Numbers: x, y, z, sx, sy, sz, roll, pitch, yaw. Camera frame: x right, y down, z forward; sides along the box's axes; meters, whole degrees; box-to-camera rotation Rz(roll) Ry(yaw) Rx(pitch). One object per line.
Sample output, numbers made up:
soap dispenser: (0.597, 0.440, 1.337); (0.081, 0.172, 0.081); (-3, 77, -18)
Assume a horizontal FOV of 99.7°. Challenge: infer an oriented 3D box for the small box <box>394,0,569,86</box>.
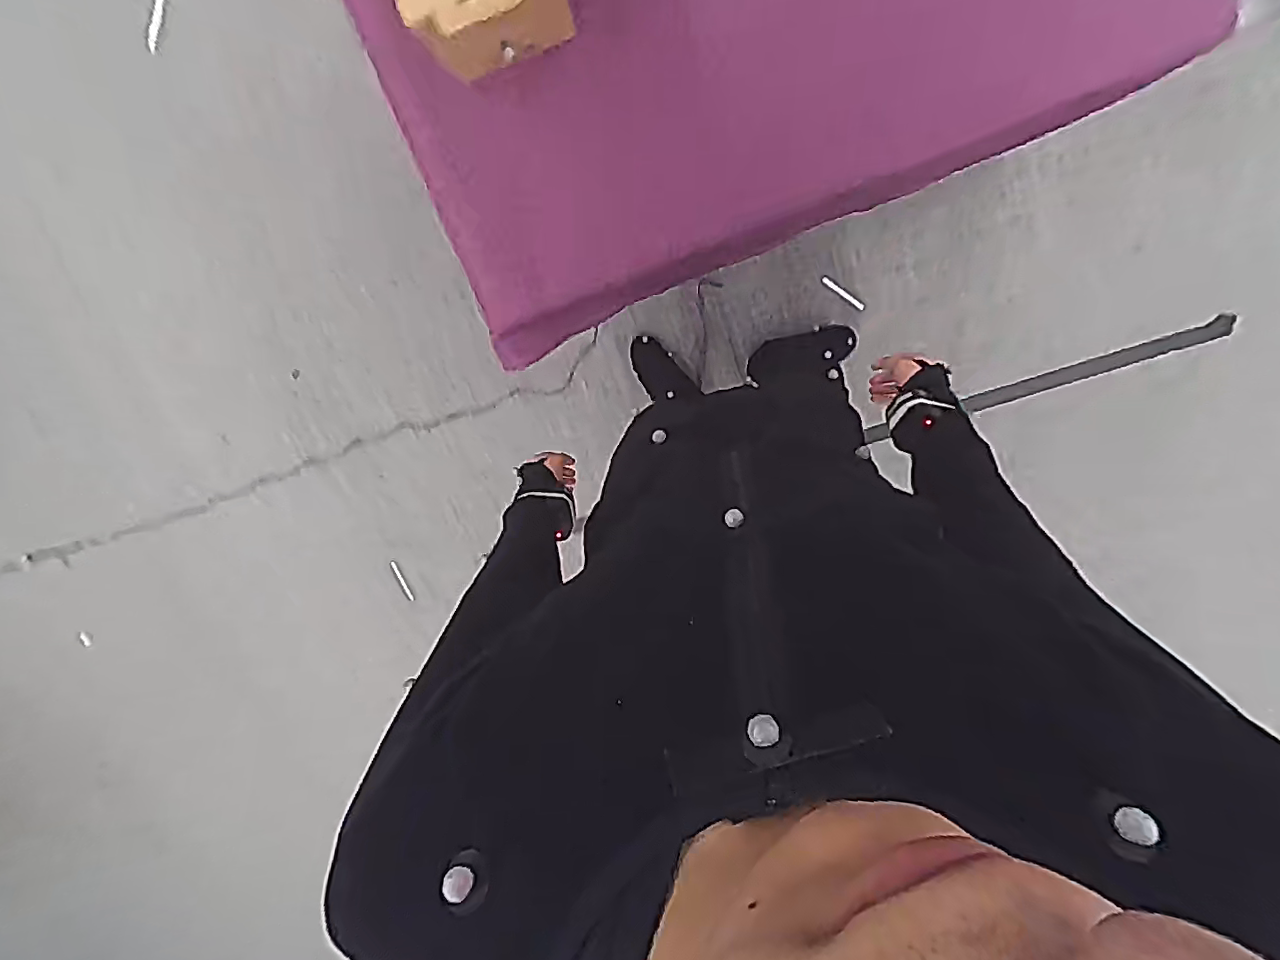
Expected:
small box: (-0.194, -0.599, 0.613); (0.168, 0.176, 0.179); (-17, 107, 8)
